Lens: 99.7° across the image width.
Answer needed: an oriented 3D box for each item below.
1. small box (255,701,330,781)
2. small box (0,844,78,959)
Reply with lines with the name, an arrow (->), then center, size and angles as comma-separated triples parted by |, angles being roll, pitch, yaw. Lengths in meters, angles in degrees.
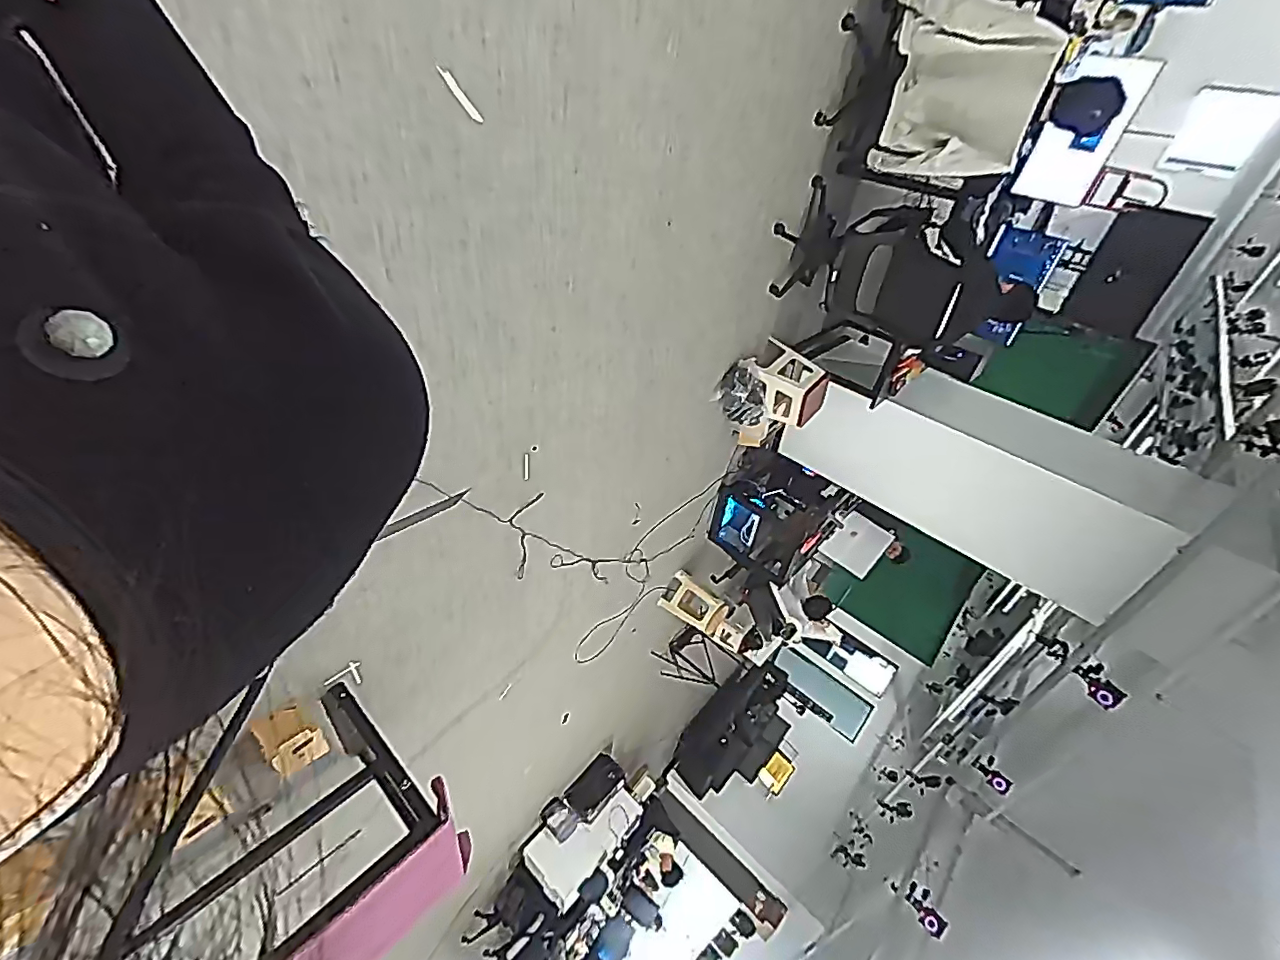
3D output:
small box -> -1.272, 0.946, 1.979 | 0.168, 0.176, 0.179 | -30, 143, -40
small box -> -1.724, 1.184, 1.513 | 0.179, 0.176, 0.168 | -16, 131, -53
